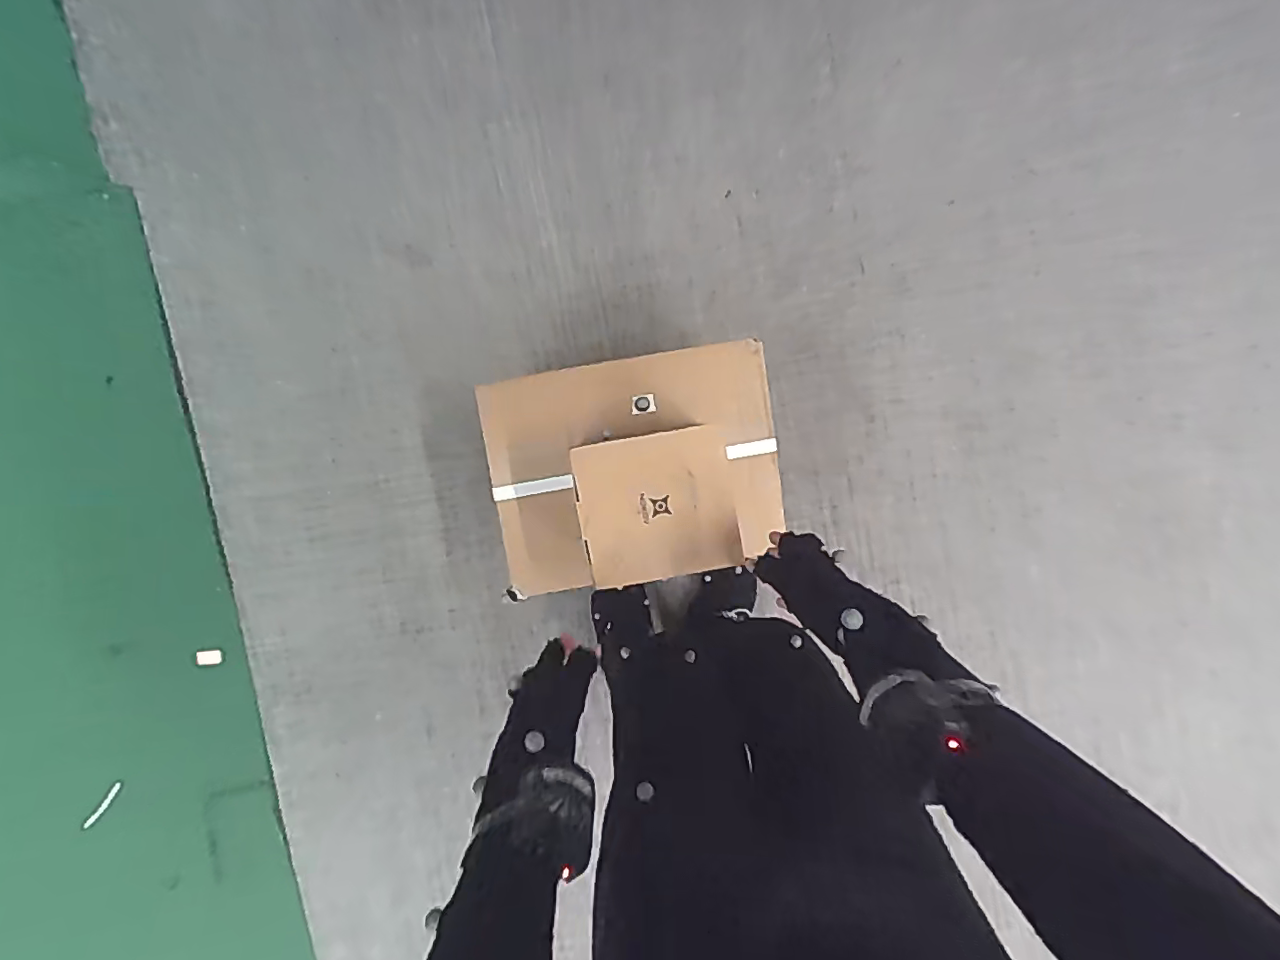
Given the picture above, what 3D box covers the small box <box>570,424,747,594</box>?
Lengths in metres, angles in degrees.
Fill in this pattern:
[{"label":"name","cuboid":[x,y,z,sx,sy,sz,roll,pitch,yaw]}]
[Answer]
[{"label":"small box","cuboid":[0.020,0.028,0.683,0.179,0.176,0.168,-12,96,-1]}]
